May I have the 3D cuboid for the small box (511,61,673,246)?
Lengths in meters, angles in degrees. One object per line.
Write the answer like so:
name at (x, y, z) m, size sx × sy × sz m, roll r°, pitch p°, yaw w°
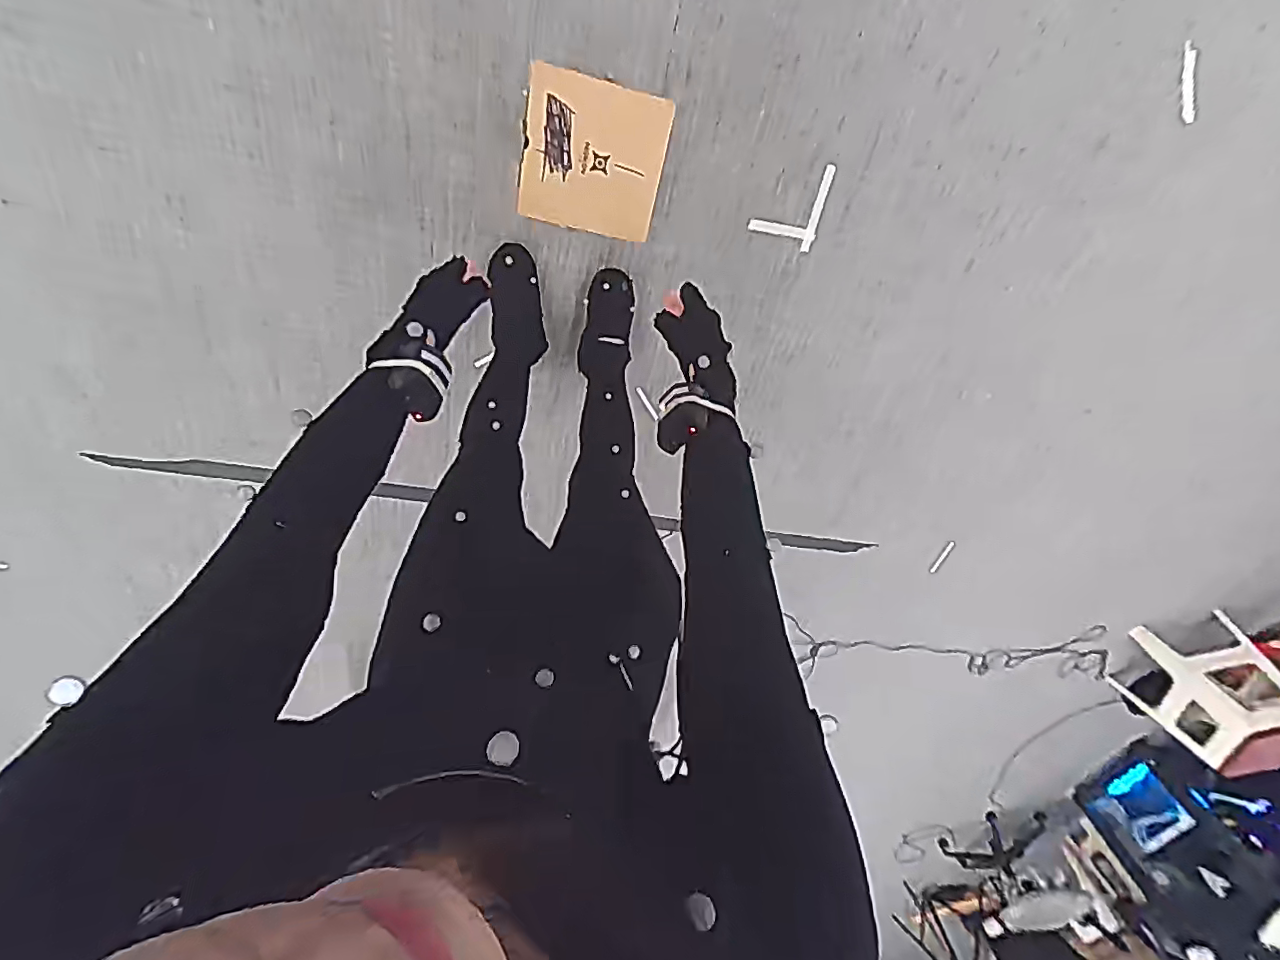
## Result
small box at (-0.072, -0.438, 0.736) m, size 0.179 × 0.176 × 0.168 m, roll 8°, pitch 122°, yaw -14°
